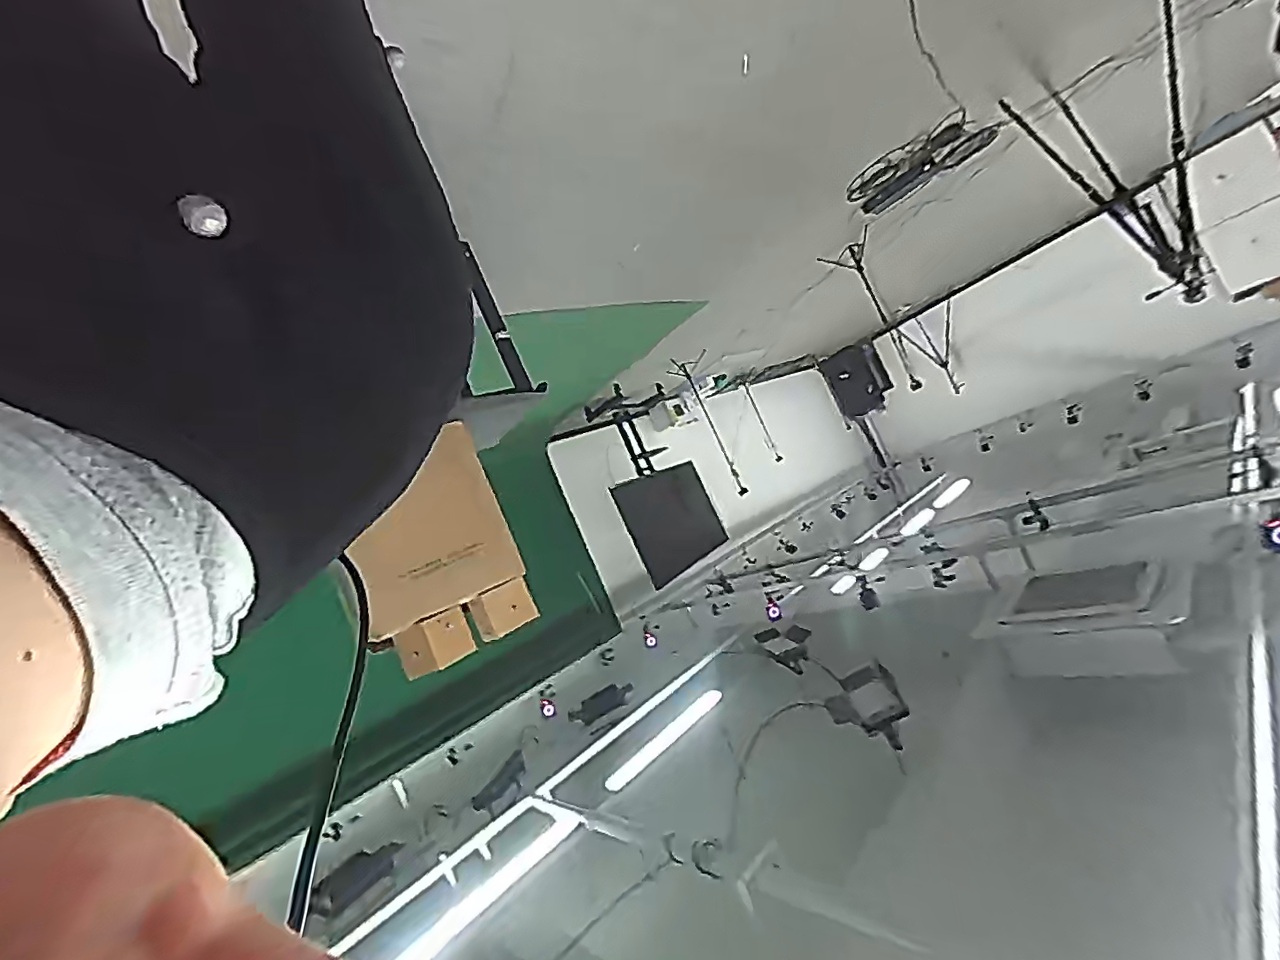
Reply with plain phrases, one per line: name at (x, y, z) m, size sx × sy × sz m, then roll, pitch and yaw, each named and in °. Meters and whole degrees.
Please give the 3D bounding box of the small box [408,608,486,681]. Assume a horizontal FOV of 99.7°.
small box at (-0.668, 0.559, 1.854) m, size 0.179 × 0.176 × 0.168 m, roll -28°, pitch 175°, yaw 29°

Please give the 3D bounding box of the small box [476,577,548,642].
small box at (-0.478, 0.479, 2.012) m, size 0.179 × 0.176 × 0.168 m, roll -25°, pitch 176°, yaw -37°
